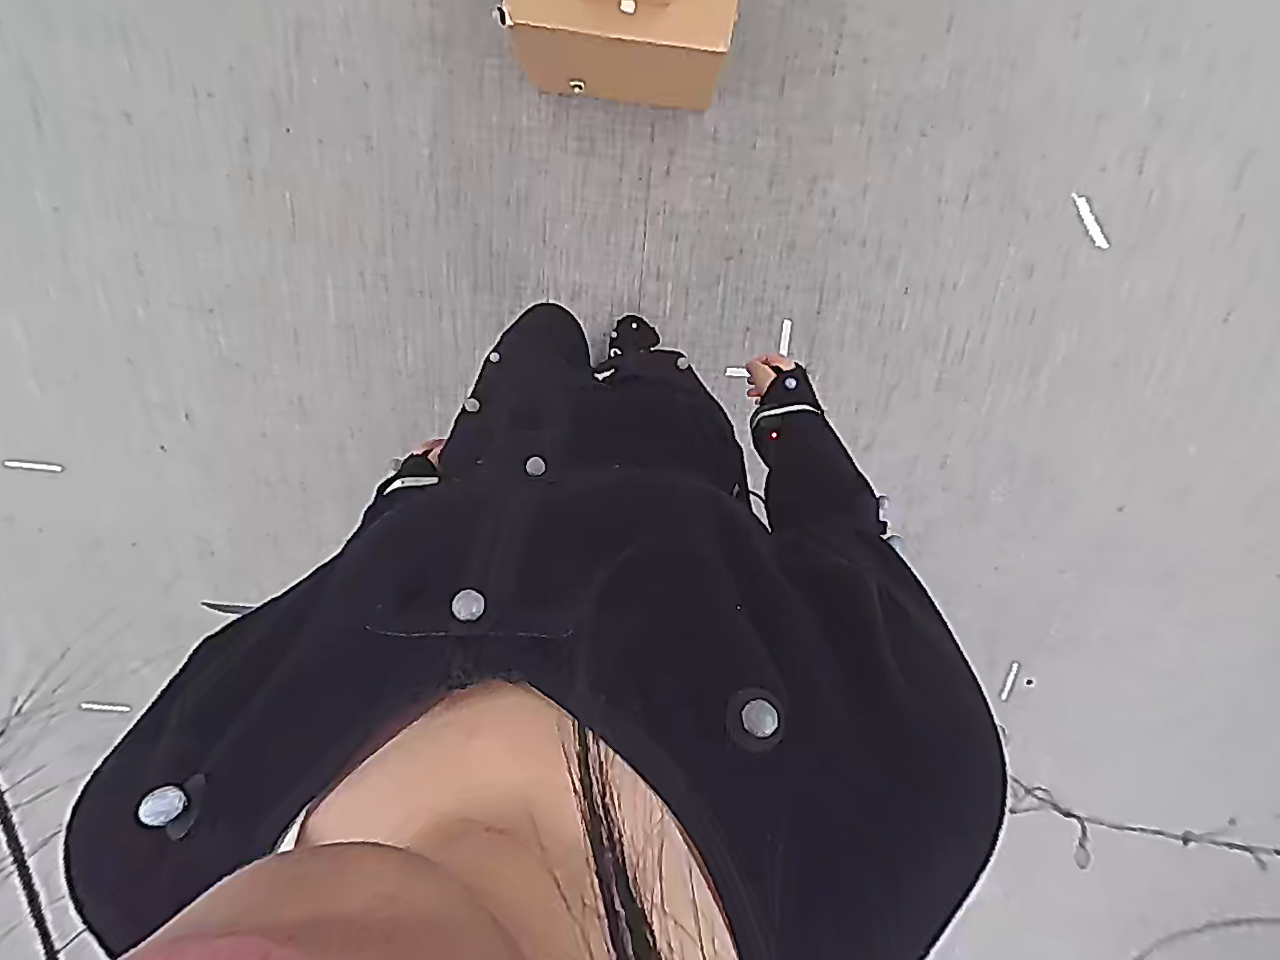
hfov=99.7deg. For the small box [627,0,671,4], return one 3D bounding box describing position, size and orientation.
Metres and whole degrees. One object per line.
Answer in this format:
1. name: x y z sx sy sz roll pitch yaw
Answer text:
1. small box: -0.017 -0.879 0.834 0.179 0.176 0.168 4 109 -2
